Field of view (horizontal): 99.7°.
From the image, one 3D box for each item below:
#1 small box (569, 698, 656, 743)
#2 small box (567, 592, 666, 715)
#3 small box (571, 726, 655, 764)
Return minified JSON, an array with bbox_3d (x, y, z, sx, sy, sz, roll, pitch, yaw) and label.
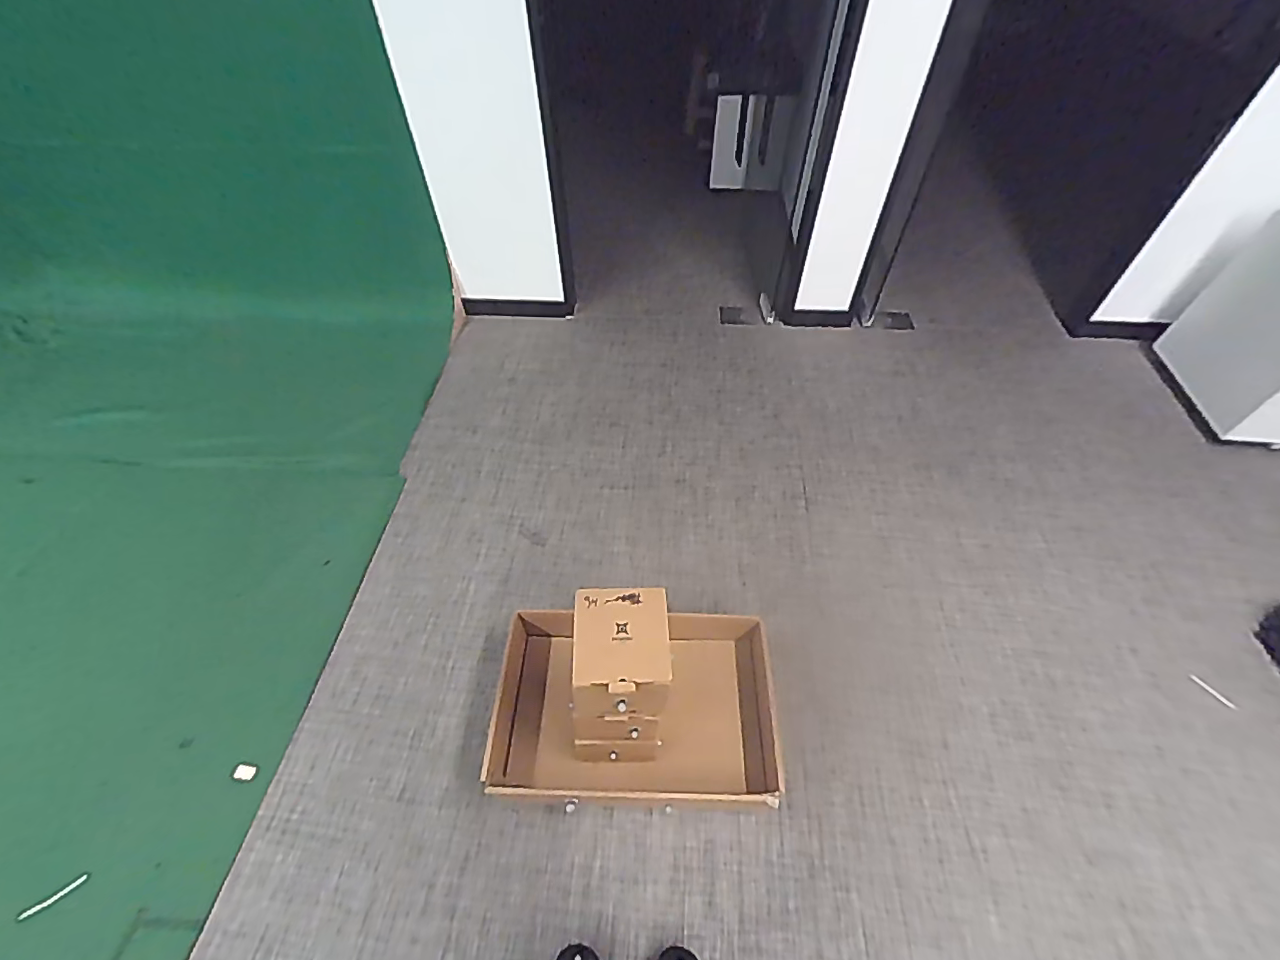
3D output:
[{"bbox_3d":[-0.050,0.429,1.113,0.168,0.176,0.179,3,49,-1],"label":"small box"},{"bbox_3d":[-0.038,0.321,0.990,0.168,0.176,0.179,1,51,-2],"label":"small box"},{"bbox_3d":[-0.056,0.538,1.231,0.179,0.176,0.168,0,50,1],"label":"small box"}]
